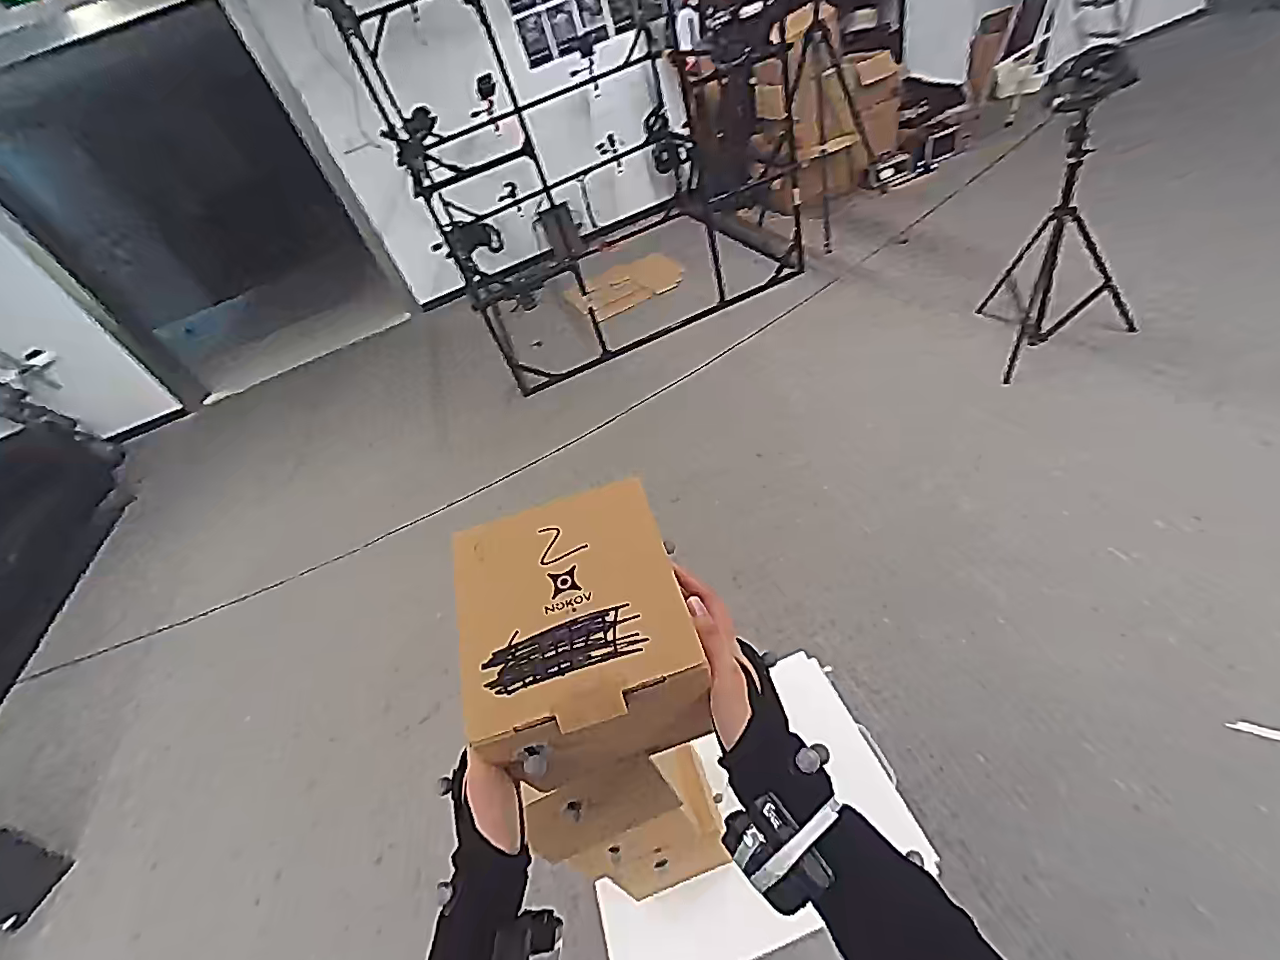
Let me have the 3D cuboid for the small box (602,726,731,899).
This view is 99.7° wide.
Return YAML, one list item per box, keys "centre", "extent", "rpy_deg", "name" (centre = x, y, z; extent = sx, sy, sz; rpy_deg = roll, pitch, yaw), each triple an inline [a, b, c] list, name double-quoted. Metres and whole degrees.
- centre: [0.028, 0.540, 0.874]
  extent: [0.179, 0.176, 0.168]
  rpy_deg: [-21, 40, -2]
  name: "small box"

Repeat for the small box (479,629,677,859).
- centre: [-0.074, 0.320, 0.653]
  extent: [0.179, 0.176, 0.168]
  rpy_deg: [-22, 40, -3]
  name: "small box"

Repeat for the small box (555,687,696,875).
- centre: [-0.032, 0.430, 0.769]
  extent: [0.168, 0.176, 0.179]
  rpy_deg: [-21, 39, 0]
  name: "small box"
